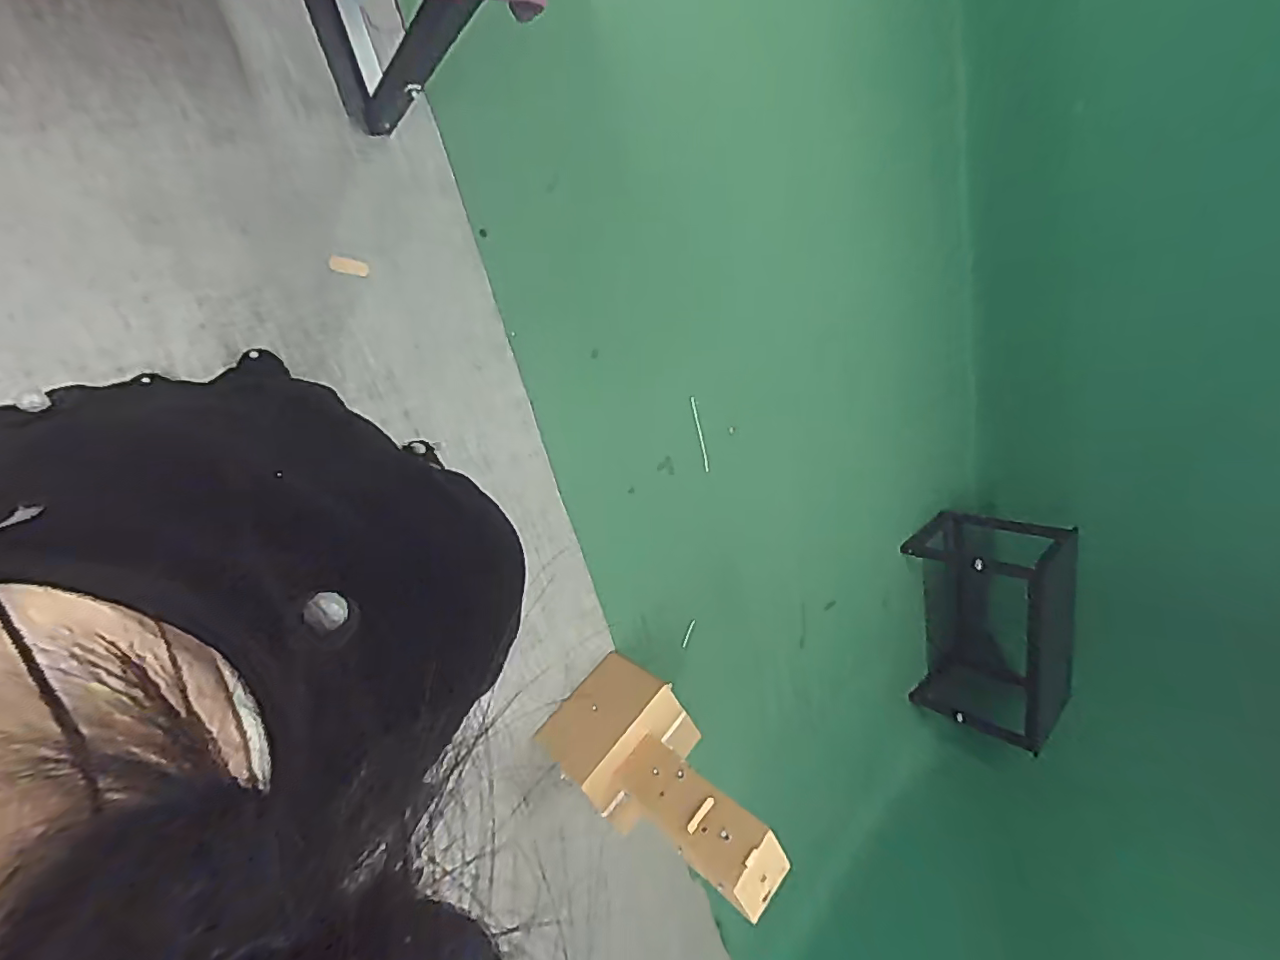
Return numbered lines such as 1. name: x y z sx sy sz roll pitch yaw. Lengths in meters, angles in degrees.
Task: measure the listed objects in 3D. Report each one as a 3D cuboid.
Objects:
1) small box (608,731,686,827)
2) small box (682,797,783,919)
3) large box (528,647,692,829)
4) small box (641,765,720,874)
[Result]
1. small box: 0.035 0.916 1.660 0.179 0.176 0.168 -39 118 -27
2. small box: 0.236 0.967 1.406 0.168 0.176 0.179 -39 117 -27
3. large box: -0.100 0.867 1.860 0.408 0.320 0.320 -43 123 -27
4. small box: 0.131 0.946 1.530 0.168 0.176 0.179 -37 118 -28
